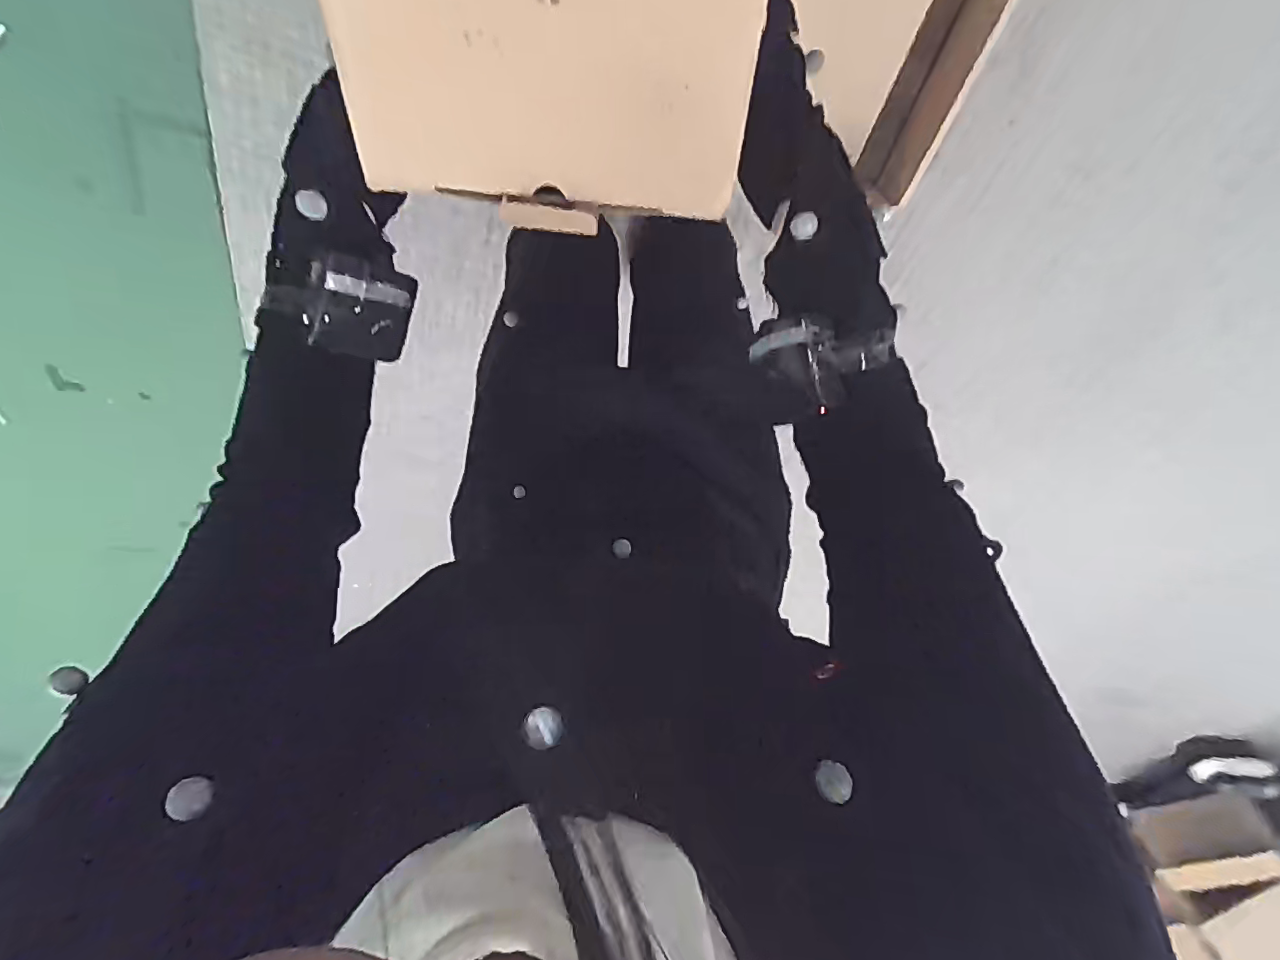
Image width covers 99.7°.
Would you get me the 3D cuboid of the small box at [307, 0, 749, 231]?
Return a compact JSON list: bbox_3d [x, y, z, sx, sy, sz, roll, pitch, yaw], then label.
[{"bbox_3d":[-0.039,-0.239,0.250,0.168,0.176,0.179,3,132,-3],"label":"small box"}]
